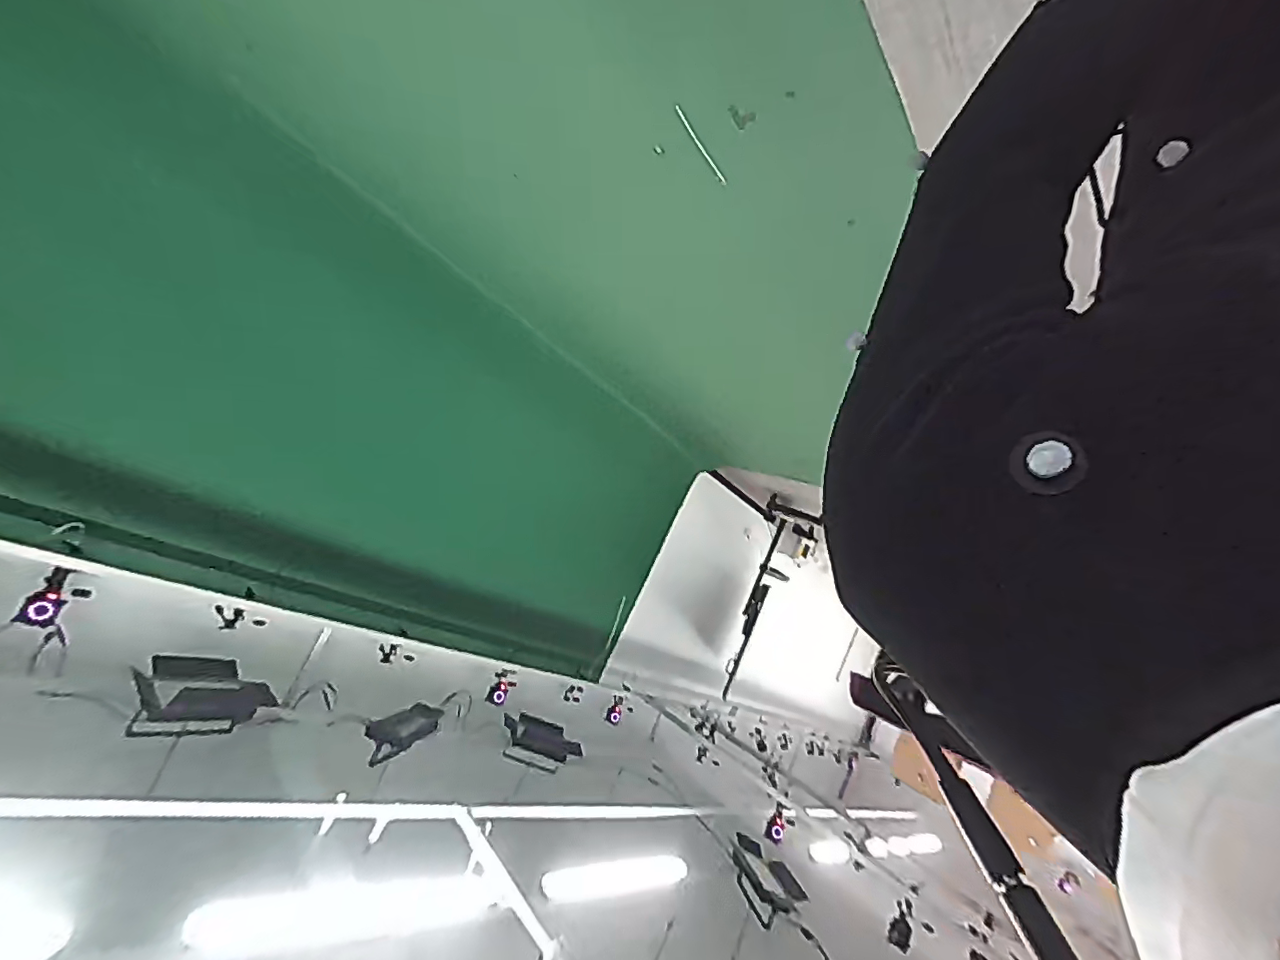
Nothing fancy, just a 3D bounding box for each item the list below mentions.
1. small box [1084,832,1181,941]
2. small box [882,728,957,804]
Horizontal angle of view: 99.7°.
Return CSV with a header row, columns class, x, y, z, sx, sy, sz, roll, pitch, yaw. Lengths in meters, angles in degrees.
class,x,y,z,sx,sy,sz,roll,pitch,yaw
small box,1.336,1.092,1.470,0.168,0.176,0.179,18,169,46
small box,0.975,0.988,1.876,0.179,0.176,0.168,16,168,47
